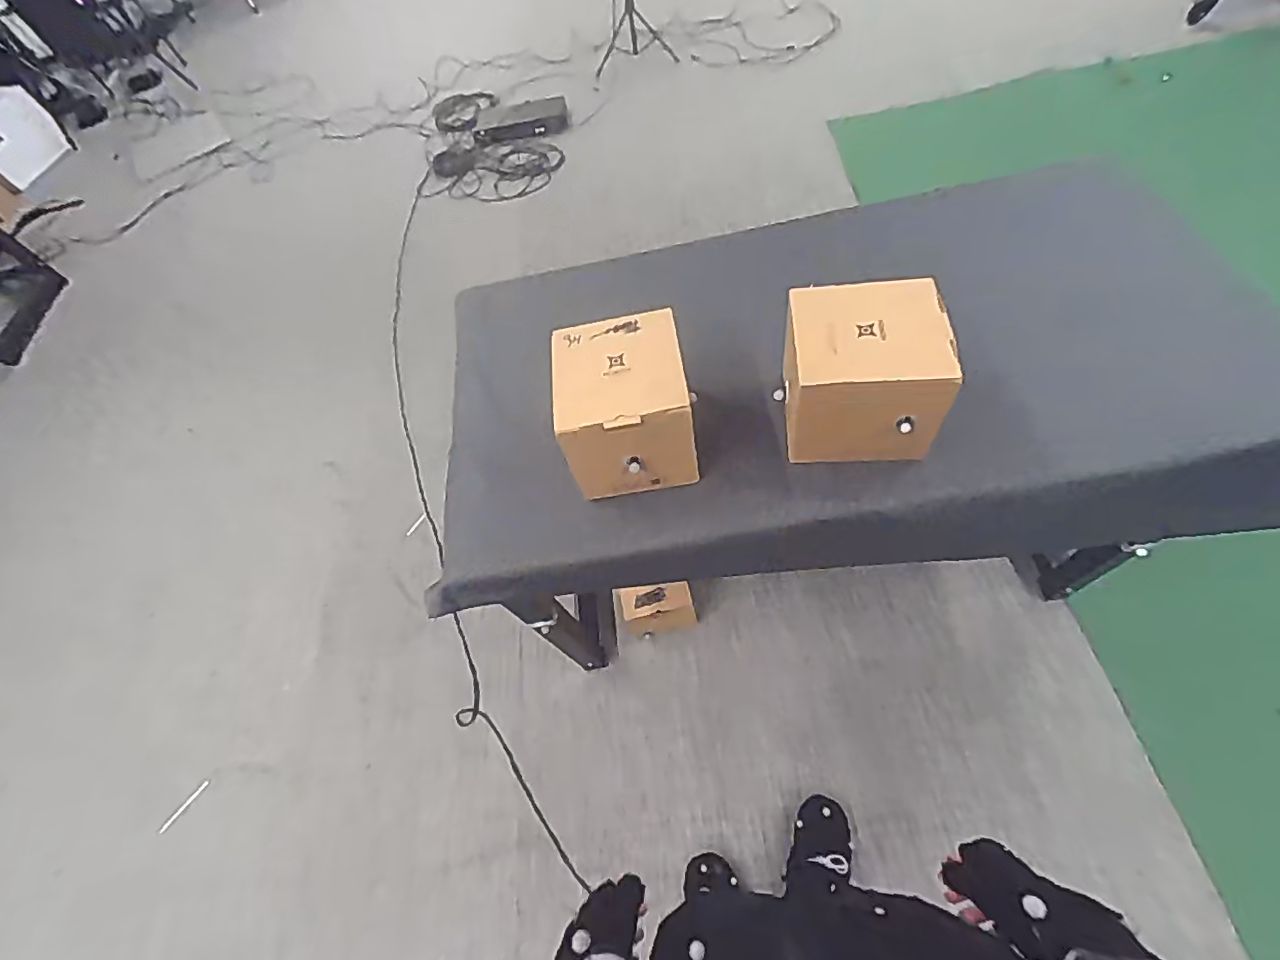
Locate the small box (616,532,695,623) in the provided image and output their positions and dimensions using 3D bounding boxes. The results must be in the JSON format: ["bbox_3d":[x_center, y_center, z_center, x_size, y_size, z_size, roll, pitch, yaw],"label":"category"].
[{"bbox_3d":[0.043,0.257,1.381,0.168,0.176,0.179,-12,59,2],"label":"small box"}]

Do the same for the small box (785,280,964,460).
[{"bbox_3d":[0.291,-0.137,0.715,0.179,0.176,0.168,-1,59,11],"label":"small box"}]

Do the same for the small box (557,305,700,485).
[{"bbox_3d":[-0.012,-0.106,0.747,0.168,0.176,0.179,-8,59,5],"label":"small box"}]
